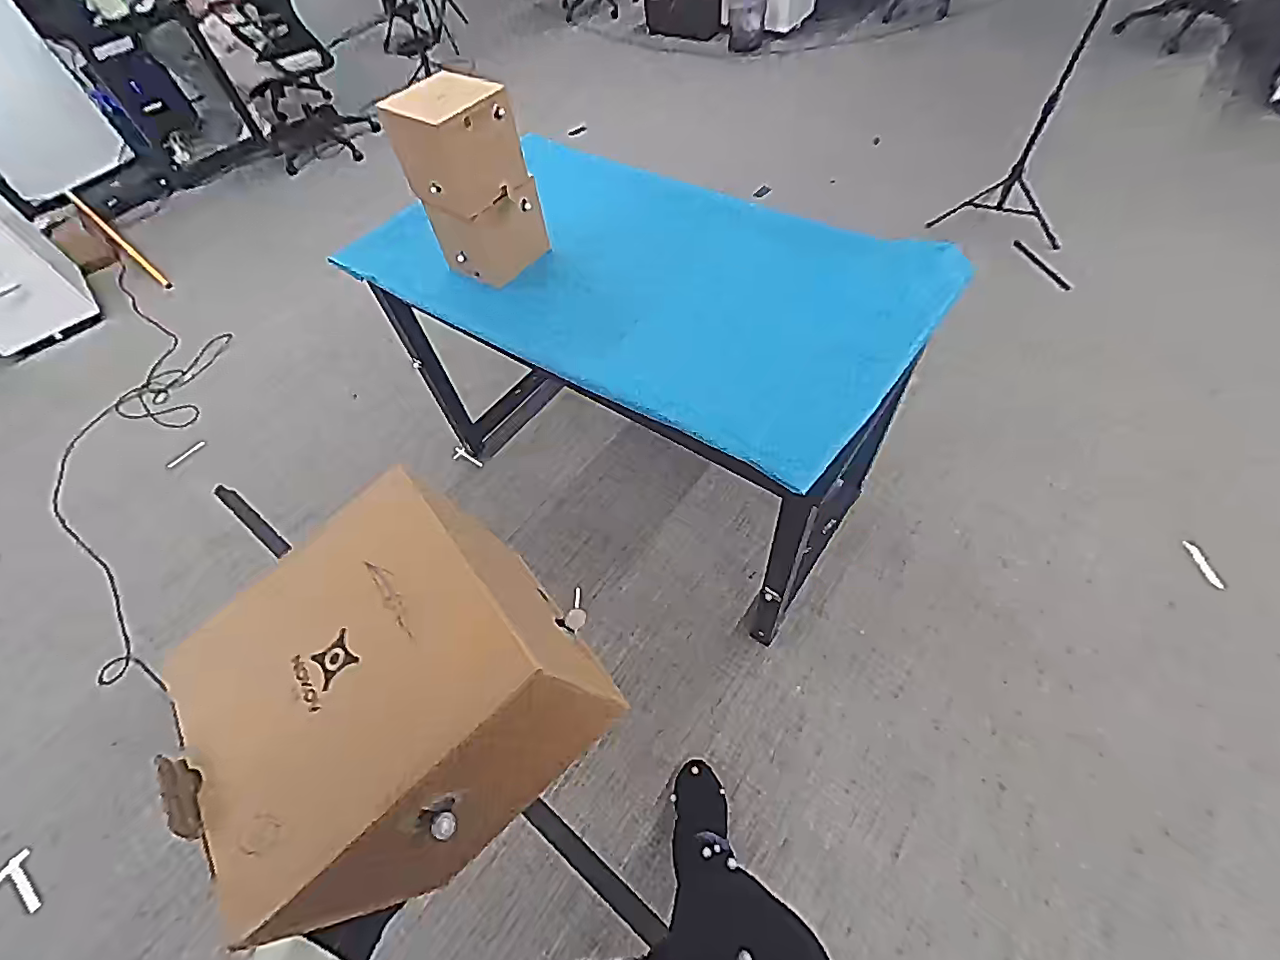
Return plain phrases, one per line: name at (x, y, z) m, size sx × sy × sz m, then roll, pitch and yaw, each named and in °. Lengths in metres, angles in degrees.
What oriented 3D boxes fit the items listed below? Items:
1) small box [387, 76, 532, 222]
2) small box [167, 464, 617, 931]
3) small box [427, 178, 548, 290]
small box at (-0.340, -0.631, 1.027) m, size 0.179 × 0.176 × 0.168 m, roll 31°, pitch 64°, yaw 24°
small box at (-0.143, 0.130, 0.352) m, size 0.179 × 0.176 × 0.168 m, roll -42°, pitch 59°, yaw -6°
small box at (-0.320, -0.548, 1.171) m, size 0.168 × 0.176 × 0.179 m, roll 32°, pitch 67°, yaw 26°
